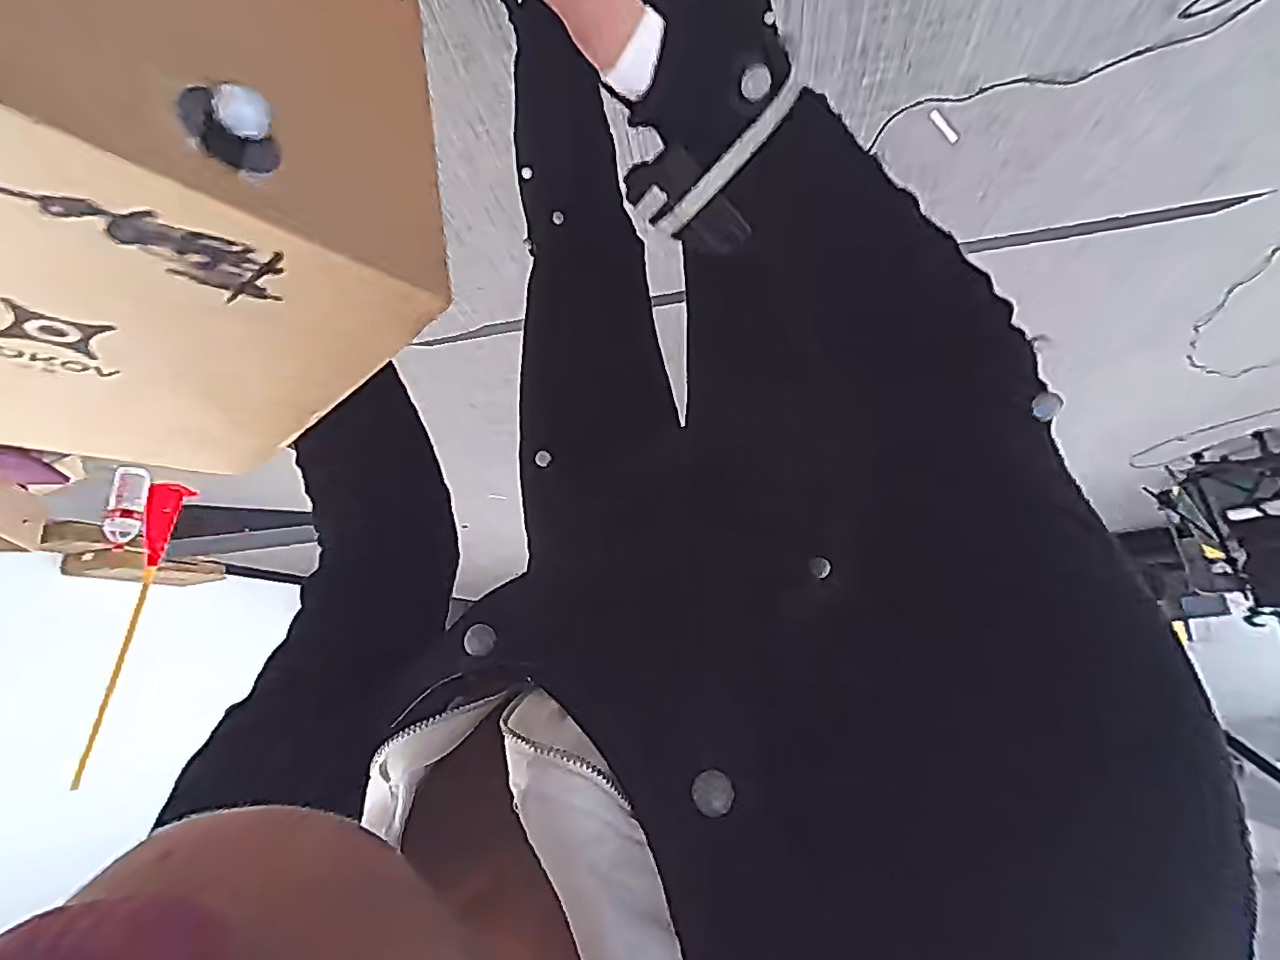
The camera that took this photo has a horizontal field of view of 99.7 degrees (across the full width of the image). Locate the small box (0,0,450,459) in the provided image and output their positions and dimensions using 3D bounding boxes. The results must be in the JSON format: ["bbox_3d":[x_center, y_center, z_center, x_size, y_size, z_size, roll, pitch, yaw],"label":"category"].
[{"bbox_3d":[-0.191,-0.125,0.188,0.179,0.176,0.168,-22,161,31],"label":"small box"}]
